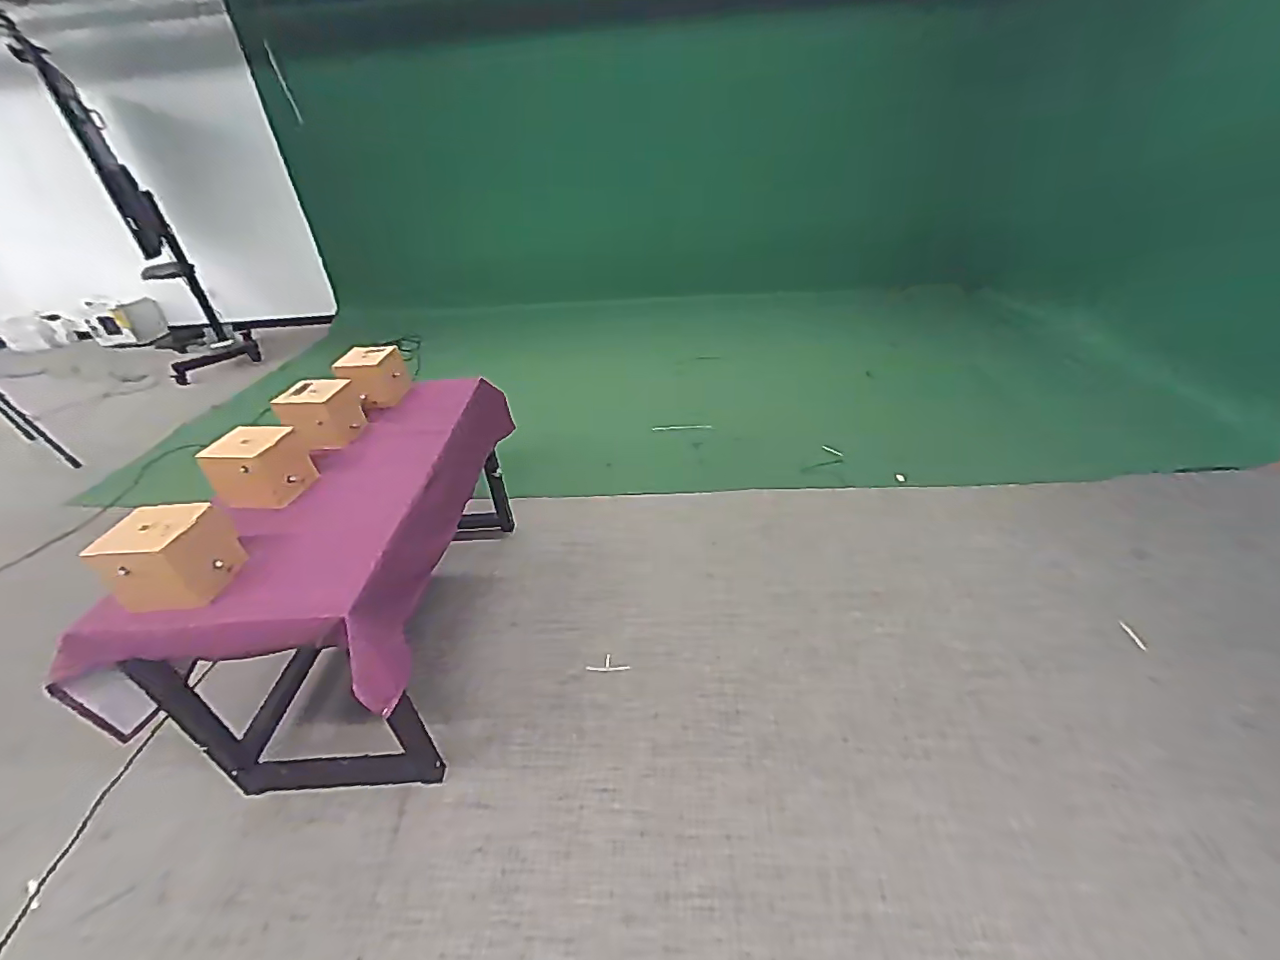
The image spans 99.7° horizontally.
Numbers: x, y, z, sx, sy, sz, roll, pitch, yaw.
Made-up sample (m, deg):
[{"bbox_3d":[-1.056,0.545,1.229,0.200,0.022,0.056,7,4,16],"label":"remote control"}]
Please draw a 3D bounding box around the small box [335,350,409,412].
[{"bbox_3d":[-0.967,-0.362,1.974,0.168,0.176,0.179,-2,36,4],"label":"small box"}]

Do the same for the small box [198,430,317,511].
[{"bbox_3d":[-1.044,-0.027,1.493,0.179,0.176,0.168,1,35,8],"label":"small box"}]

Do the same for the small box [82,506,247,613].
[{"bbox_3d":[-1.026,0.175,1.186,0.179,0.176,0.168,-3,34,2],"label":"small box"}]
